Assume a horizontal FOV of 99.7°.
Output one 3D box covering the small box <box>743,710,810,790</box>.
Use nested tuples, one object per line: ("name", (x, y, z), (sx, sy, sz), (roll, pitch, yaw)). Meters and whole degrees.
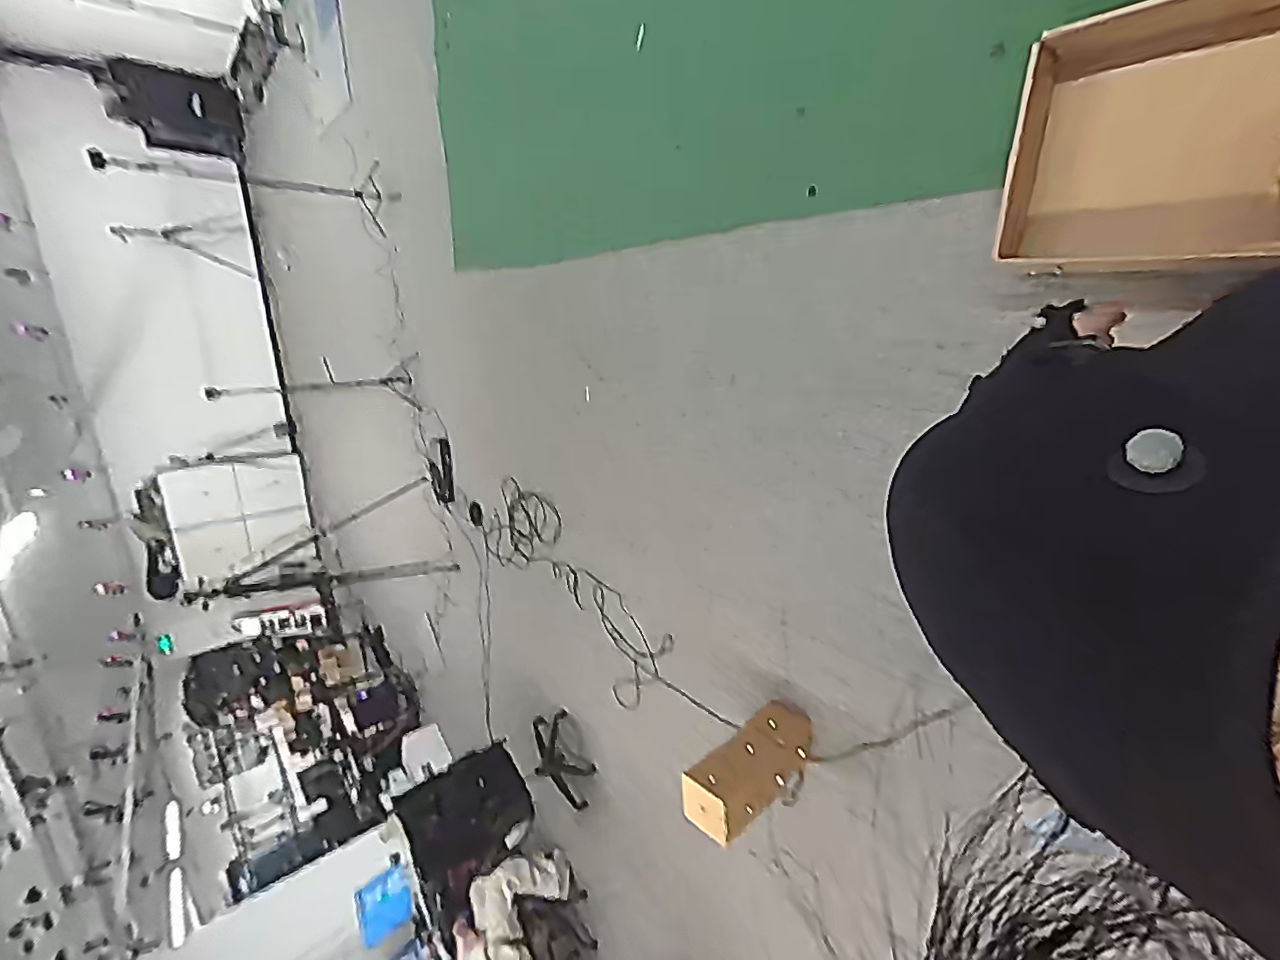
("small box", (0.493, 0.954, 1.931), (0.179, 0.176, 0.168), (6, 104, 50))

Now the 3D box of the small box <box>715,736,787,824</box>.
("small box", (0.373, 1.001, 1.829), (0.179, 0.176, 0.168), (11, 109, 47))

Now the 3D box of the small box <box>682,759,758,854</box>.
("small box", (0.254, 1.025, 1.721), (0.179, 0.176, 0.168), (9, 107, 47))
